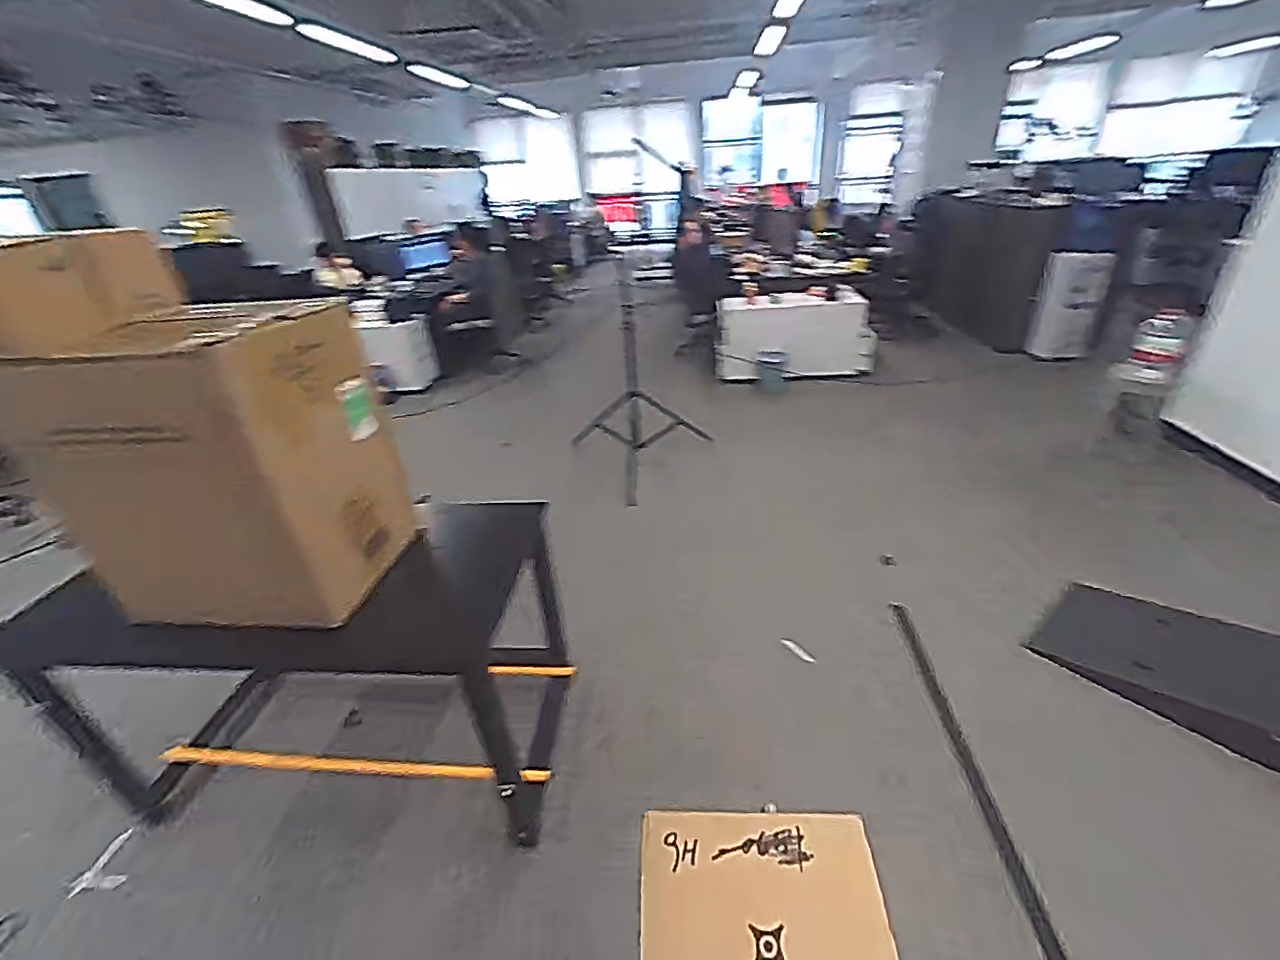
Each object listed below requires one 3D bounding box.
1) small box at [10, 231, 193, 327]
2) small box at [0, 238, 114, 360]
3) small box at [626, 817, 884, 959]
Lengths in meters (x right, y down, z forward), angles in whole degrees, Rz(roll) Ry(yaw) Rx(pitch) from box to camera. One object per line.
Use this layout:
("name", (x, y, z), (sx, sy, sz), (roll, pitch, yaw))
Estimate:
("small box", (-1.084, -0.410, 1.105), (0.179, 0.176, 0.168), (1, 29, 6))
("small box", (-1.091, -0.319, 0.947), (0.168, 0.176, 0.179), (-1, 33, 3))
("small box", (0.077, 0.370, 0.391), (0.168, 0.176, 0.179), (-2, 40, 1))
